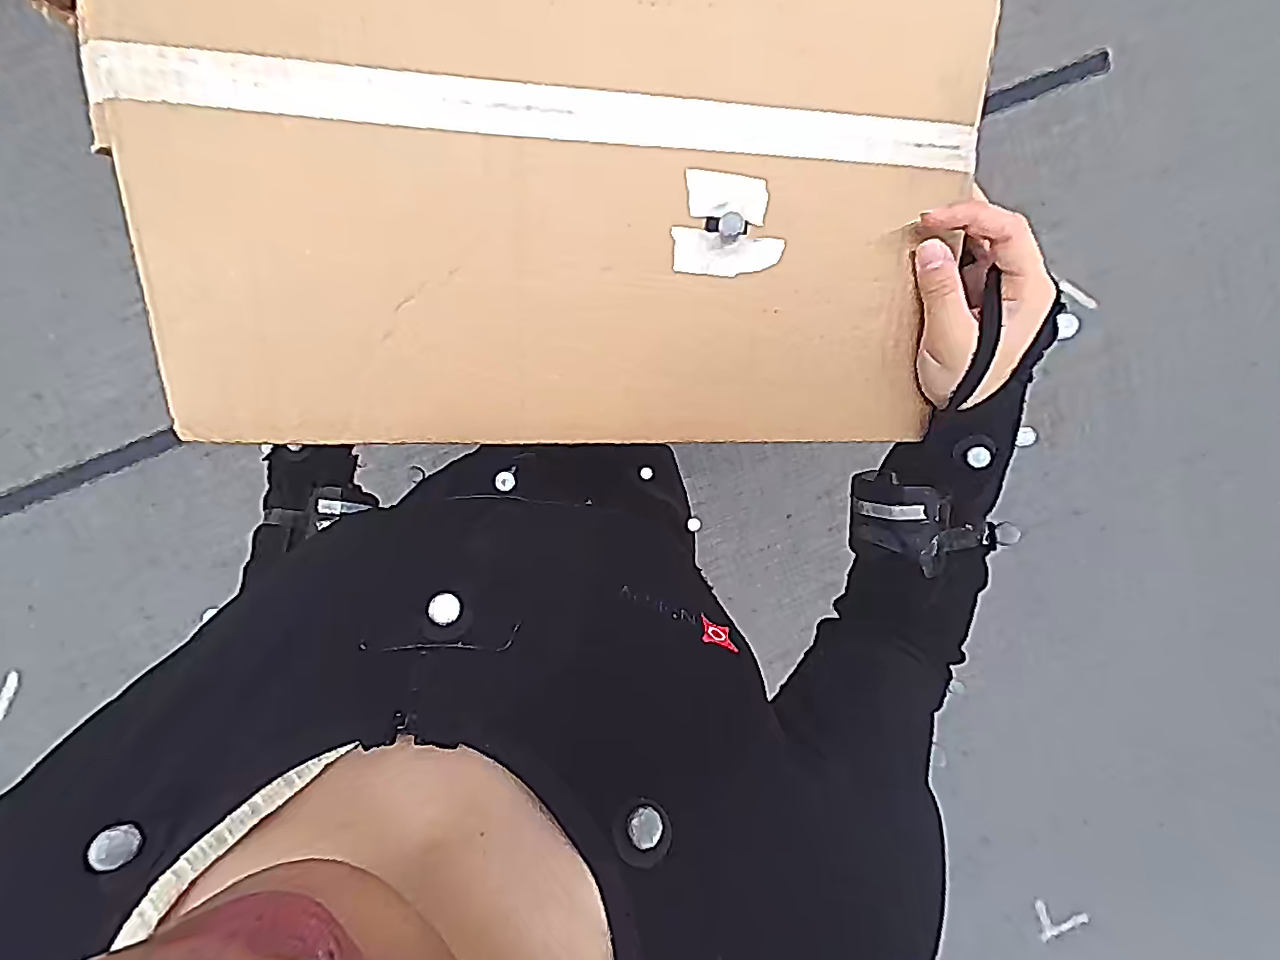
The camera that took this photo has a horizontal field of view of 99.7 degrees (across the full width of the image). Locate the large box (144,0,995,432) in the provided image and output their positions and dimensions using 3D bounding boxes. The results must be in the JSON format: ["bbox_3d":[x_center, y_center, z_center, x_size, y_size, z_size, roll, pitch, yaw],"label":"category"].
[{"bbox_3d":[-0.041,-0.216,0.407,0.408,0.320,0.320,-1,106,-11],"label":"large box"}]
